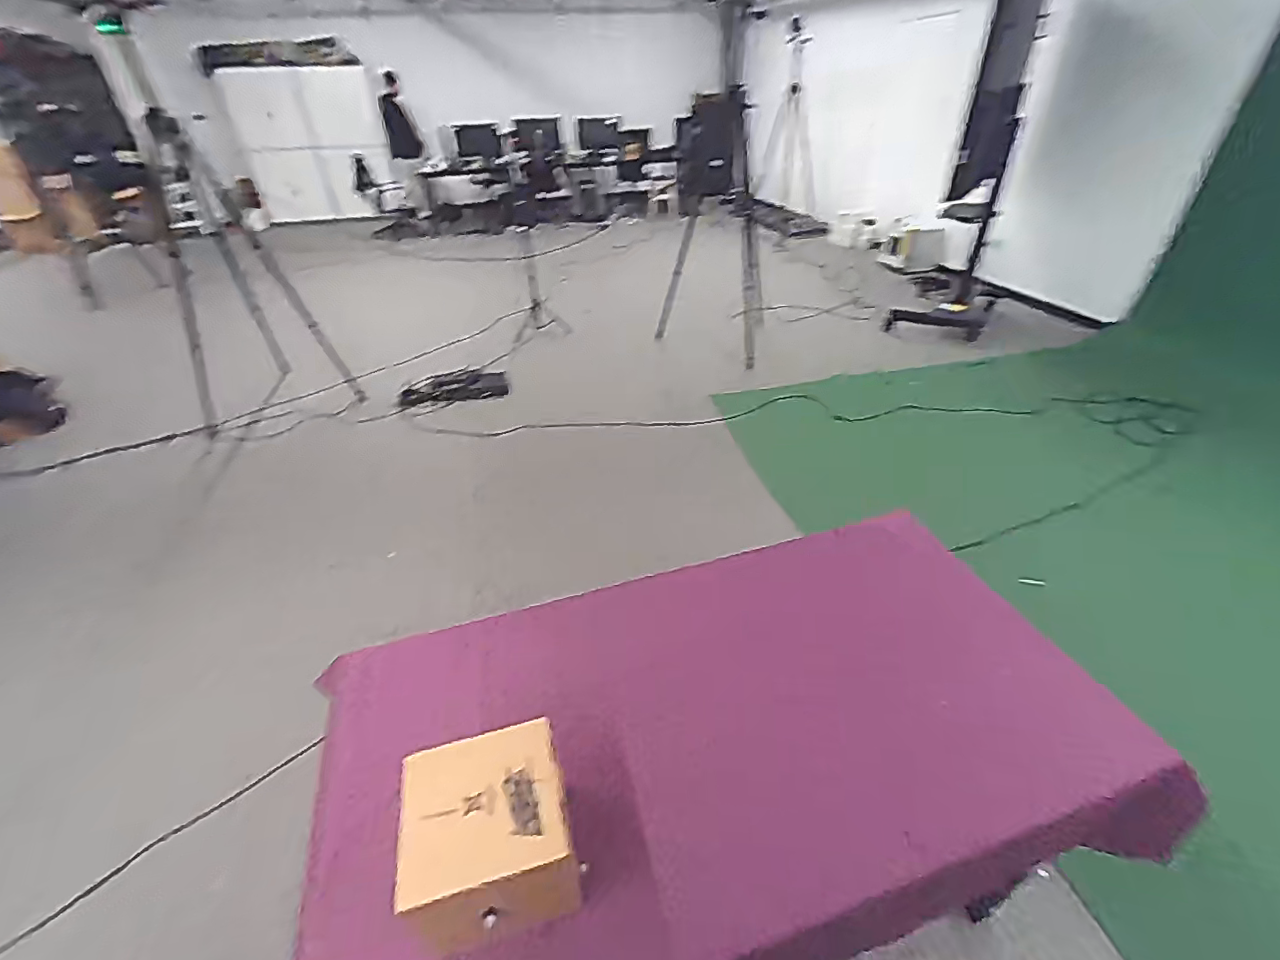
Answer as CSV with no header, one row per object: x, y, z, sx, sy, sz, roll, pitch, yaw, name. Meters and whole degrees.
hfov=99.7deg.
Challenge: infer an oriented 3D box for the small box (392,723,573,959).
-0.182,0.436,0.660,0.179,0.176,0.168,-11,36,-12,small box
